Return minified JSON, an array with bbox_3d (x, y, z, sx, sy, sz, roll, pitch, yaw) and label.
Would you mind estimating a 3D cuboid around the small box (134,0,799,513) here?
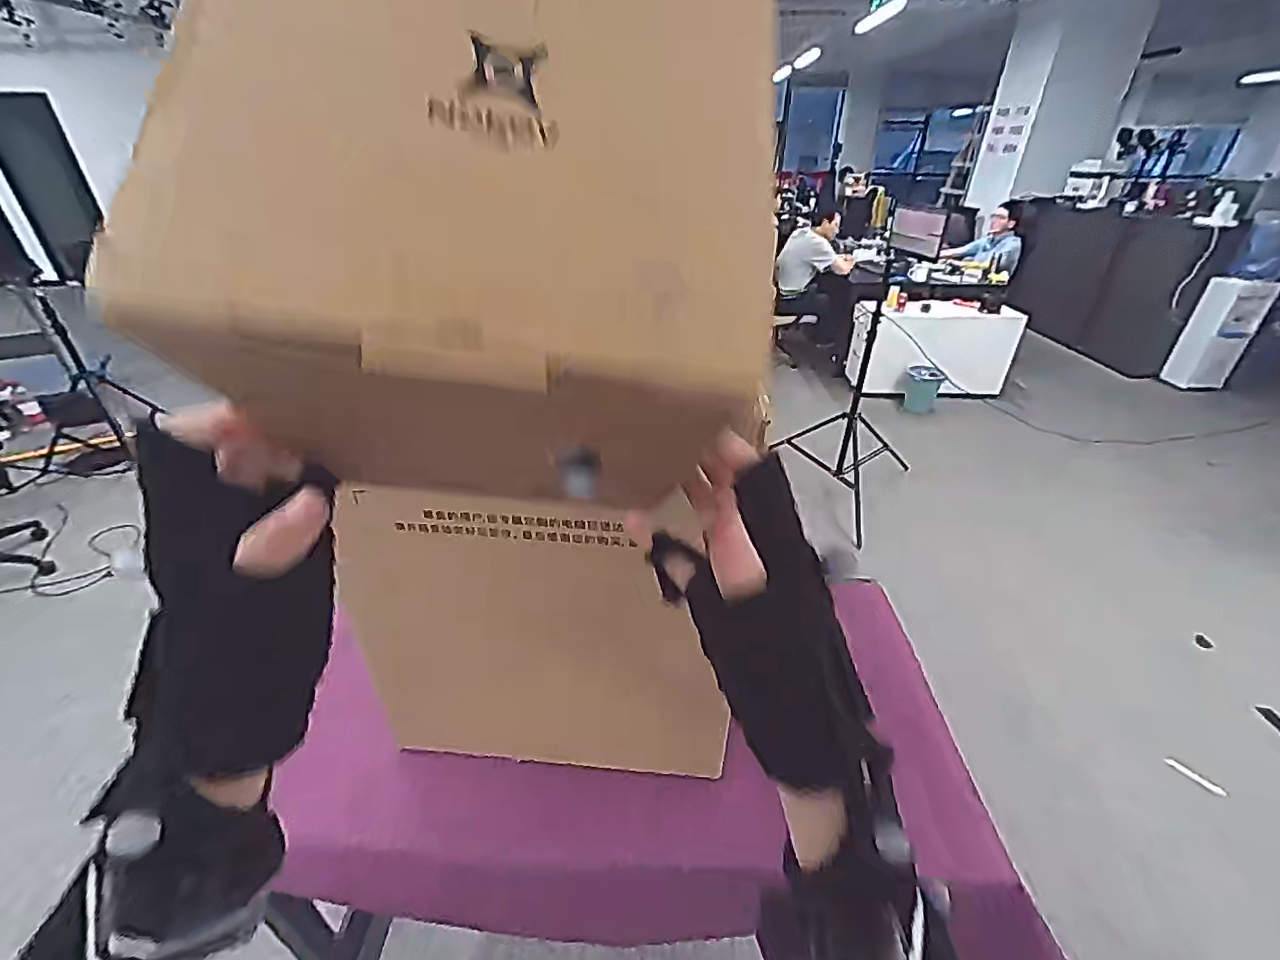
[{"bbox_3d":[-0.045,-0.087,0.233,0.168,0.176,0.179,6,75,-9],"label":"small box"}]
